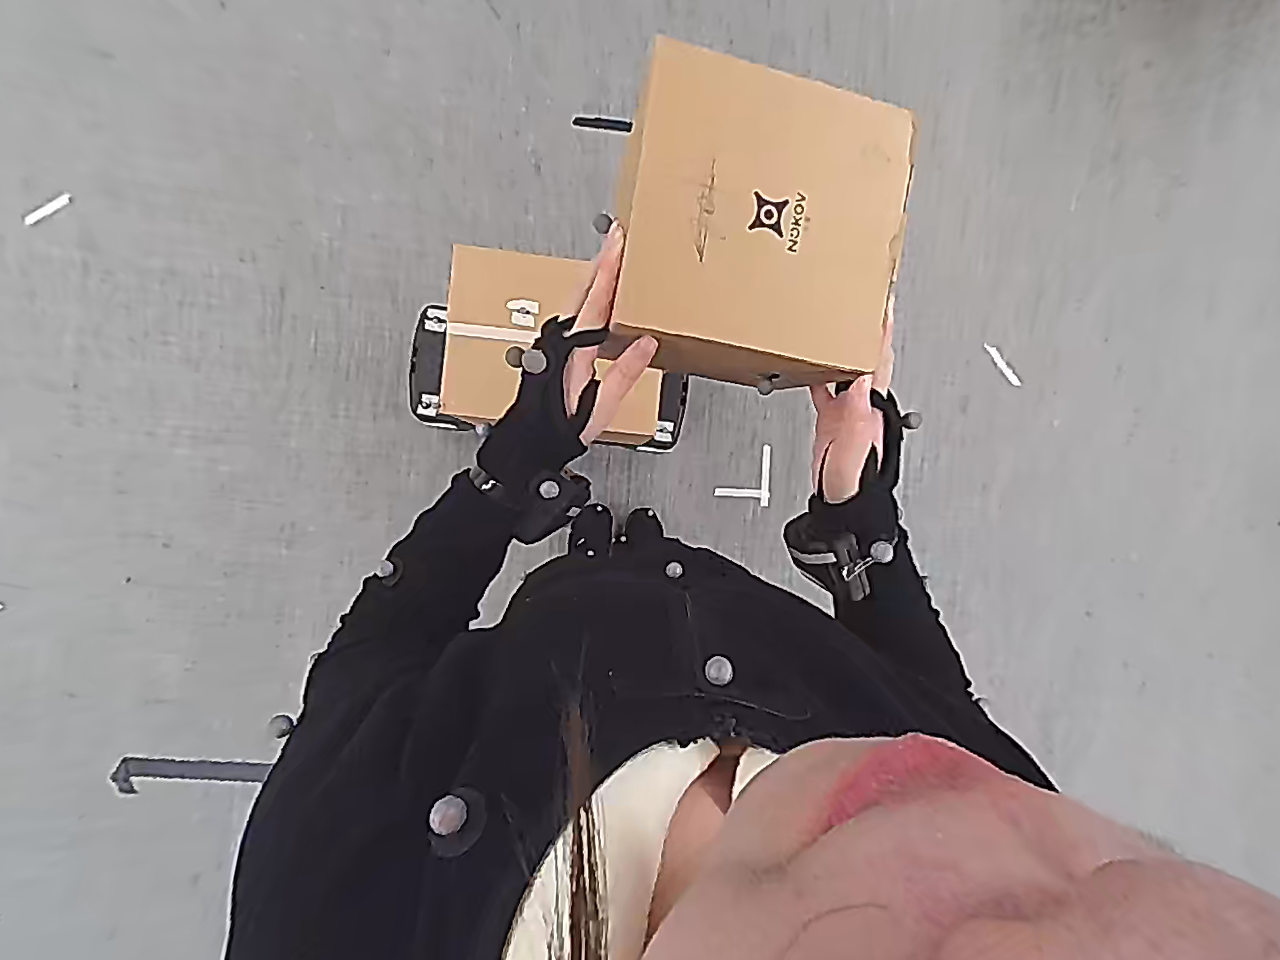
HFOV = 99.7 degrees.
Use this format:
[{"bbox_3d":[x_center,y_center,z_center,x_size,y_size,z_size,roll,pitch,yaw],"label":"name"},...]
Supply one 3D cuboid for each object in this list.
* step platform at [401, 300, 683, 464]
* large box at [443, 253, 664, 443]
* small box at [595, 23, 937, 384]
[{"bbox_3d":[-0.235,-0.238,1.378,0.684,0.204,0.286,11,89,-4],"label":"step platform"},{"bbox_3d":[-0.159,-0.249,1.145,0.408,0.320,0.320,5,89,-4],"label":"large box"},{"bbox_3d":[0.071,-0.168,0.397,0.179,0.176,0.168,9,94,-10],"label":"small box"}]
